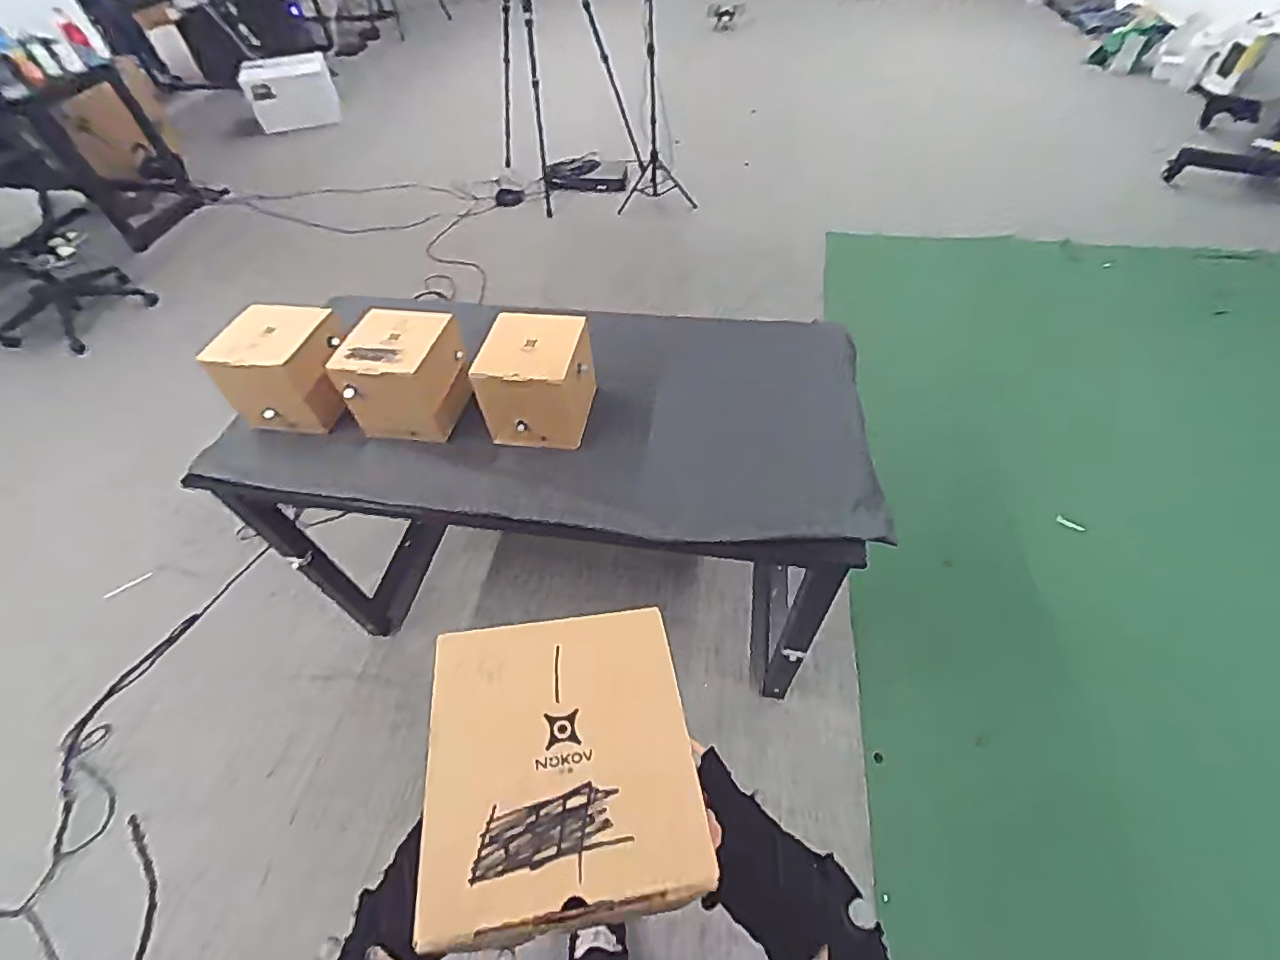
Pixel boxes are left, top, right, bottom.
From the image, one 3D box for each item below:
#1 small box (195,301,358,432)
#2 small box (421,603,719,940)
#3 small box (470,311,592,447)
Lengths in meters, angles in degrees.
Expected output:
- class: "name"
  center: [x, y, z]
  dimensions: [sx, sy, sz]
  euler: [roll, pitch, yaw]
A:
- class: "small box"
  center: [-0.672, -0.216, 1.033]
  dimensions: [0.168, 0.176, 0.179]
  euler: [5, 51, 5]
- class: "small box"
  center: [-0.053, 0.216, 0.404]
  dimensions: [0.168, 0.176, 0.179]
  euler: [-4, 49, -10]
- class: "small box"
  center: [-0.187, -0.184, 0.993]
  dimensions: [0.168, 0.176, 0.179]
  euler: [5, 53, 6]
